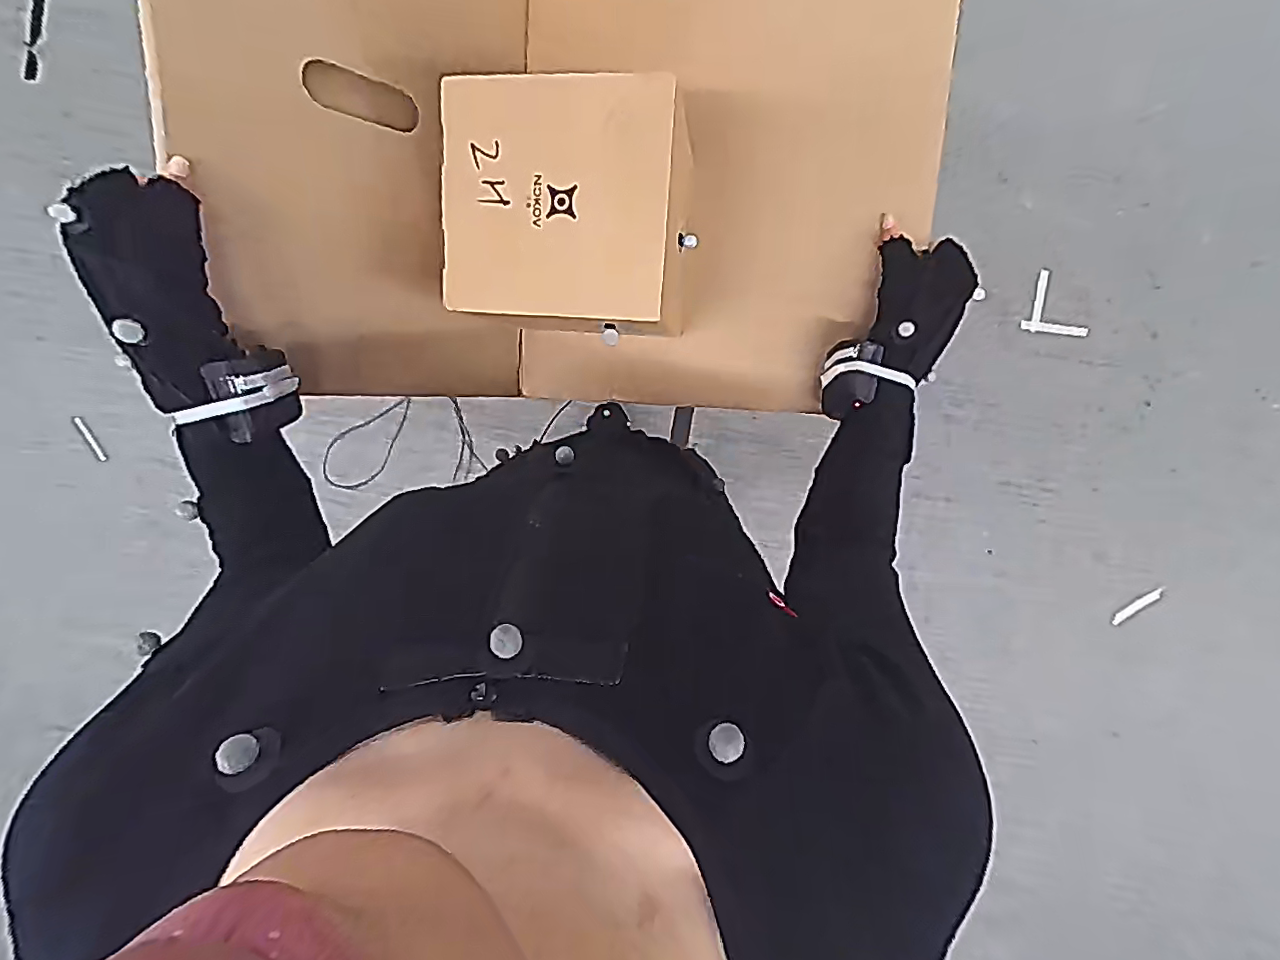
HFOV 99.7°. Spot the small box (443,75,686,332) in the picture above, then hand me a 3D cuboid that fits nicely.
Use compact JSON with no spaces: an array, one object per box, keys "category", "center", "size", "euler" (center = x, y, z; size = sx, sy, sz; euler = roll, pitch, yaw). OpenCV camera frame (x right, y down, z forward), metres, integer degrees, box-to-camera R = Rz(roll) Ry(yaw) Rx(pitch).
[{"category":"small box","center":[-0.055,-0.226,0.483],"size":[0.179,0.176,0.168],"euler":[6,101,8]}]
